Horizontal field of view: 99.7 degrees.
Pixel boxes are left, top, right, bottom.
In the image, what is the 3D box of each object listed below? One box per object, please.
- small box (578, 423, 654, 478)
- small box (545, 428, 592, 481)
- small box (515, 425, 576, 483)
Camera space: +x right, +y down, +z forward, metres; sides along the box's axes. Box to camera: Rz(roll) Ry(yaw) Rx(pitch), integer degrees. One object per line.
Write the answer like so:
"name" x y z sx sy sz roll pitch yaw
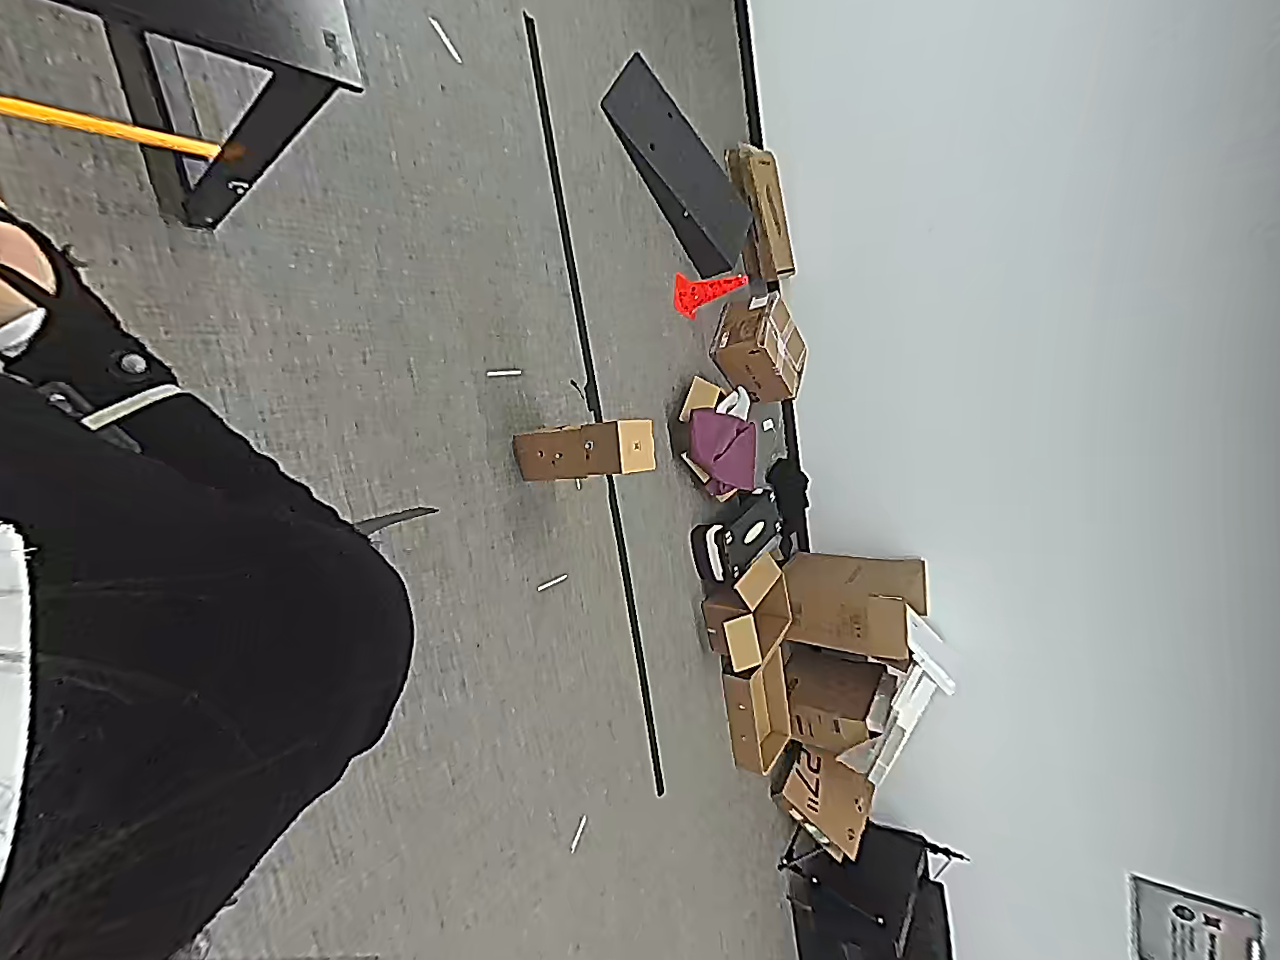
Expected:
"small box" -0.077 -0.098 1.753 0.179 0.176 0.168 -10 95 -51
"small box" -0.201 -0.093 1.859 0.179 0.176 0.168 -18 102 -50
"small box" -0.331 -0.093 1.959 0.168 0.176 0.179 -24 108 -50
